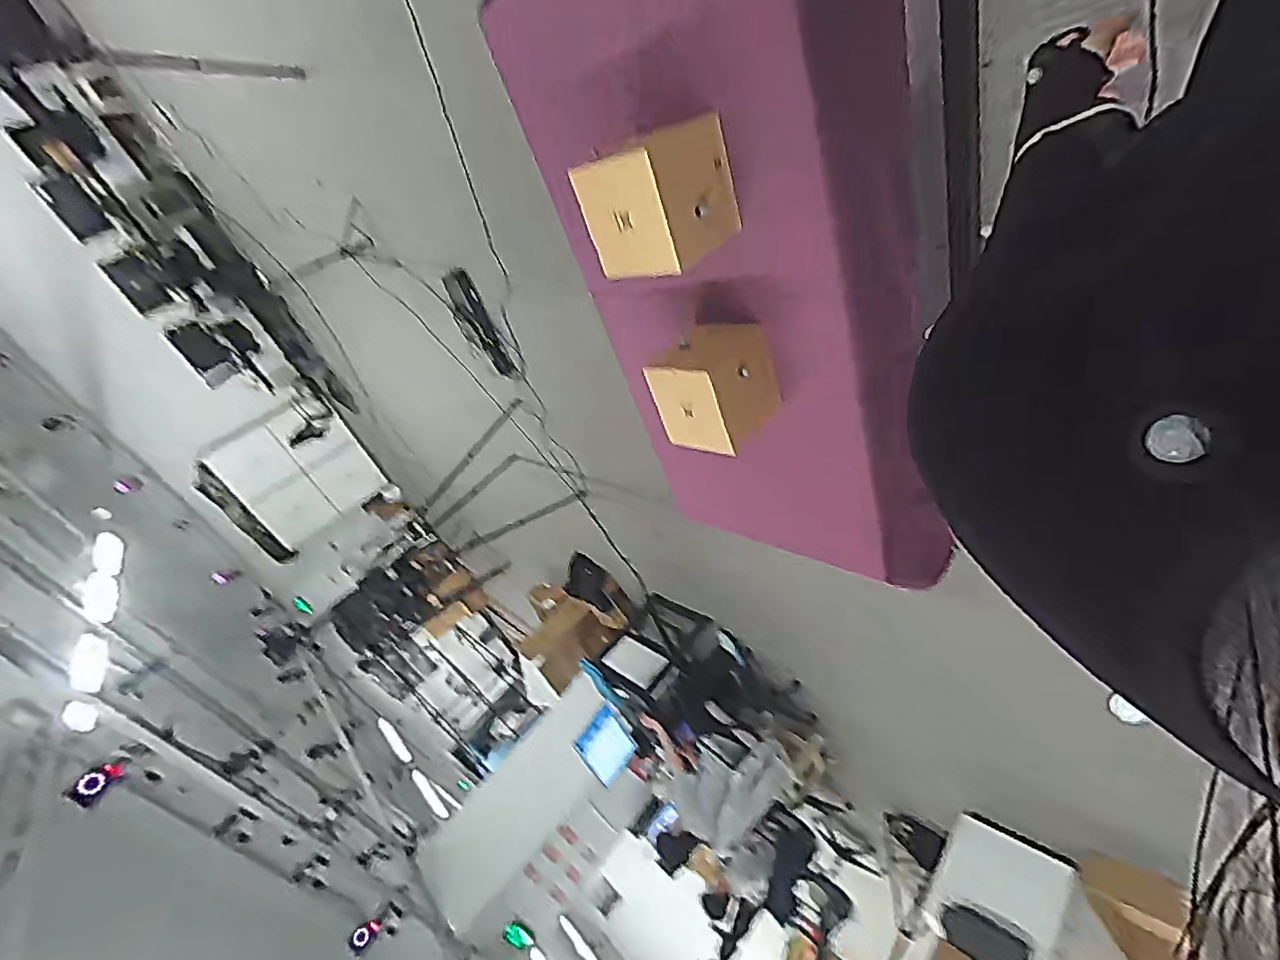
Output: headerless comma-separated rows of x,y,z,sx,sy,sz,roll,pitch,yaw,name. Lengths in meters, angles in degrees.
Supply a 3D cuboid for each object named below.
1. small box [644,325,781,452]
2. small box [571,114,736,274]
0.143,-0.180,1.024,0.168,0.176,0.179,16,140,46,small box
0.031,-0.440,0.843,0.179,0.176,0.168,18,141,45,small box
